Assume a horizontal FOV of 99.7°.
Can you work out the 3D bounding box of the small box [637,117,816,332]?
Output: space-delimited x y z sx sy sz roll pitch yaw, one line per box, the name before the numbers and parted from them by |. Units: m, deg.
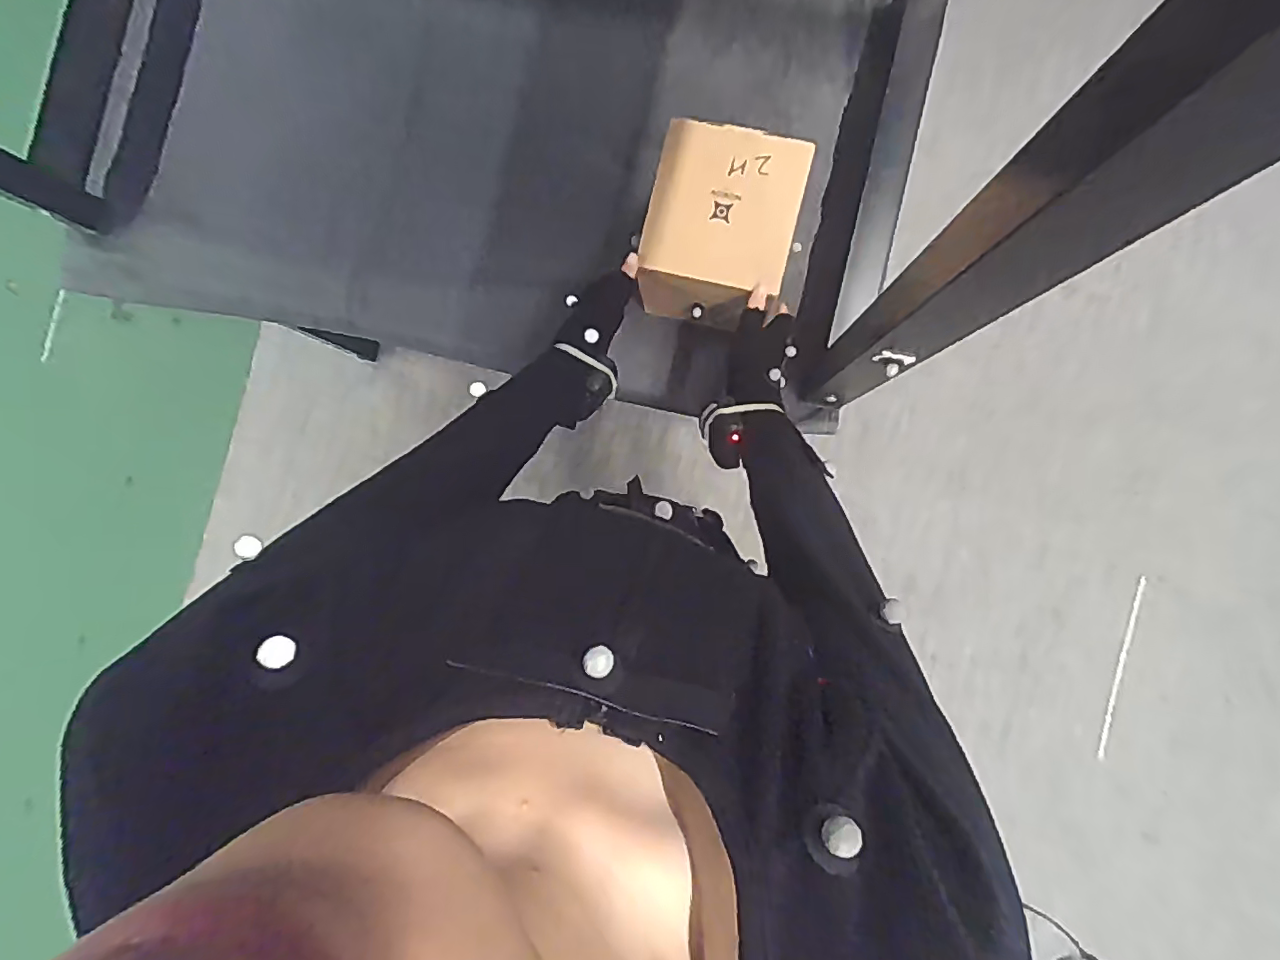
small box | 0.103 -0.305 0.683 0.168 0.176 0.179 14 90 4
